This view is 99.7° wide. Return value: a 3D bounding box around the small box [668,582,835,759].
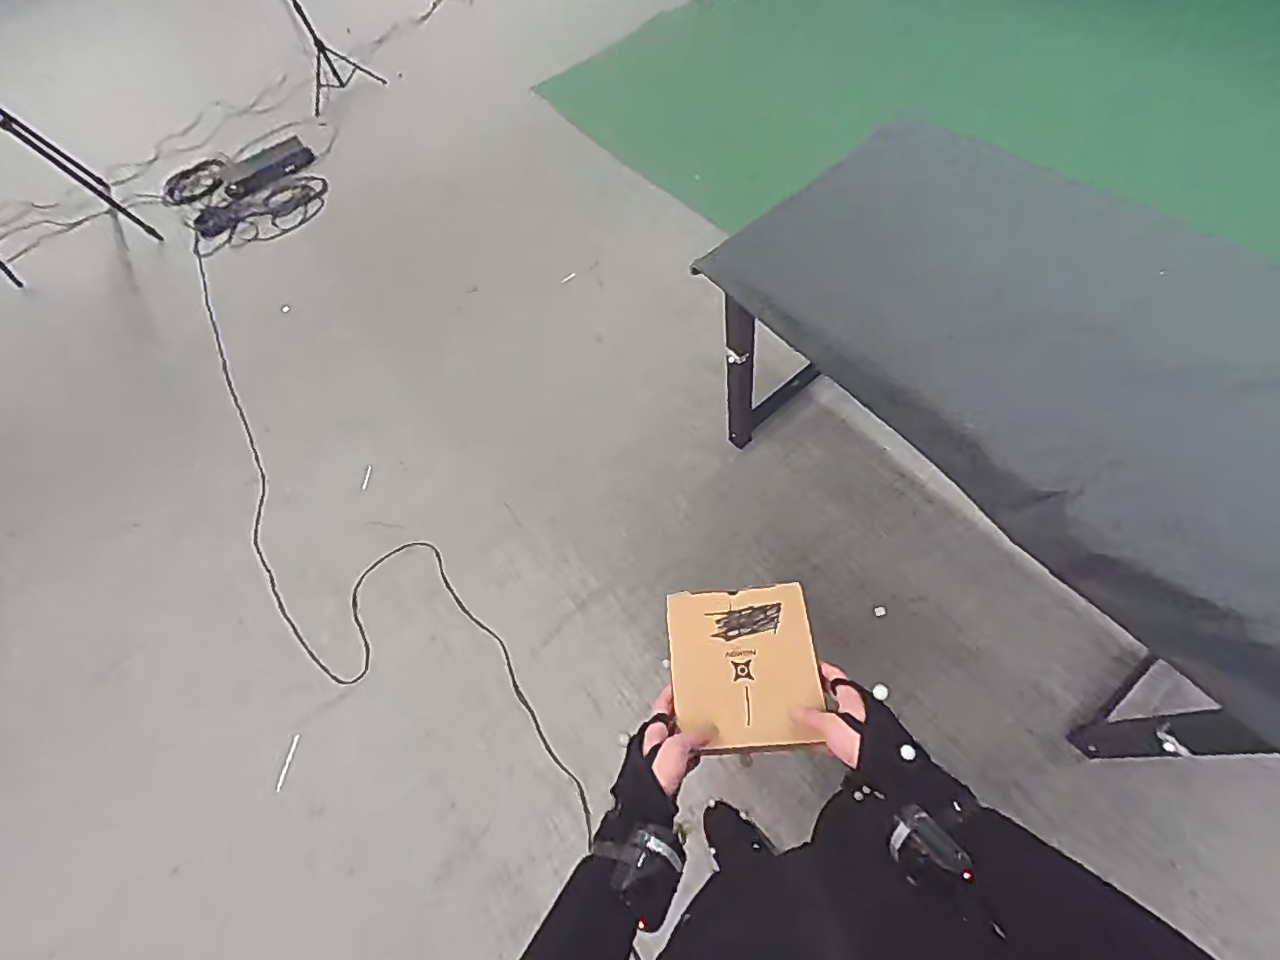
[{"bbox_3d":[0.127,0.241,0.671,0.168,0.176,0.179,-7,61,6],"label":"small box"}]
